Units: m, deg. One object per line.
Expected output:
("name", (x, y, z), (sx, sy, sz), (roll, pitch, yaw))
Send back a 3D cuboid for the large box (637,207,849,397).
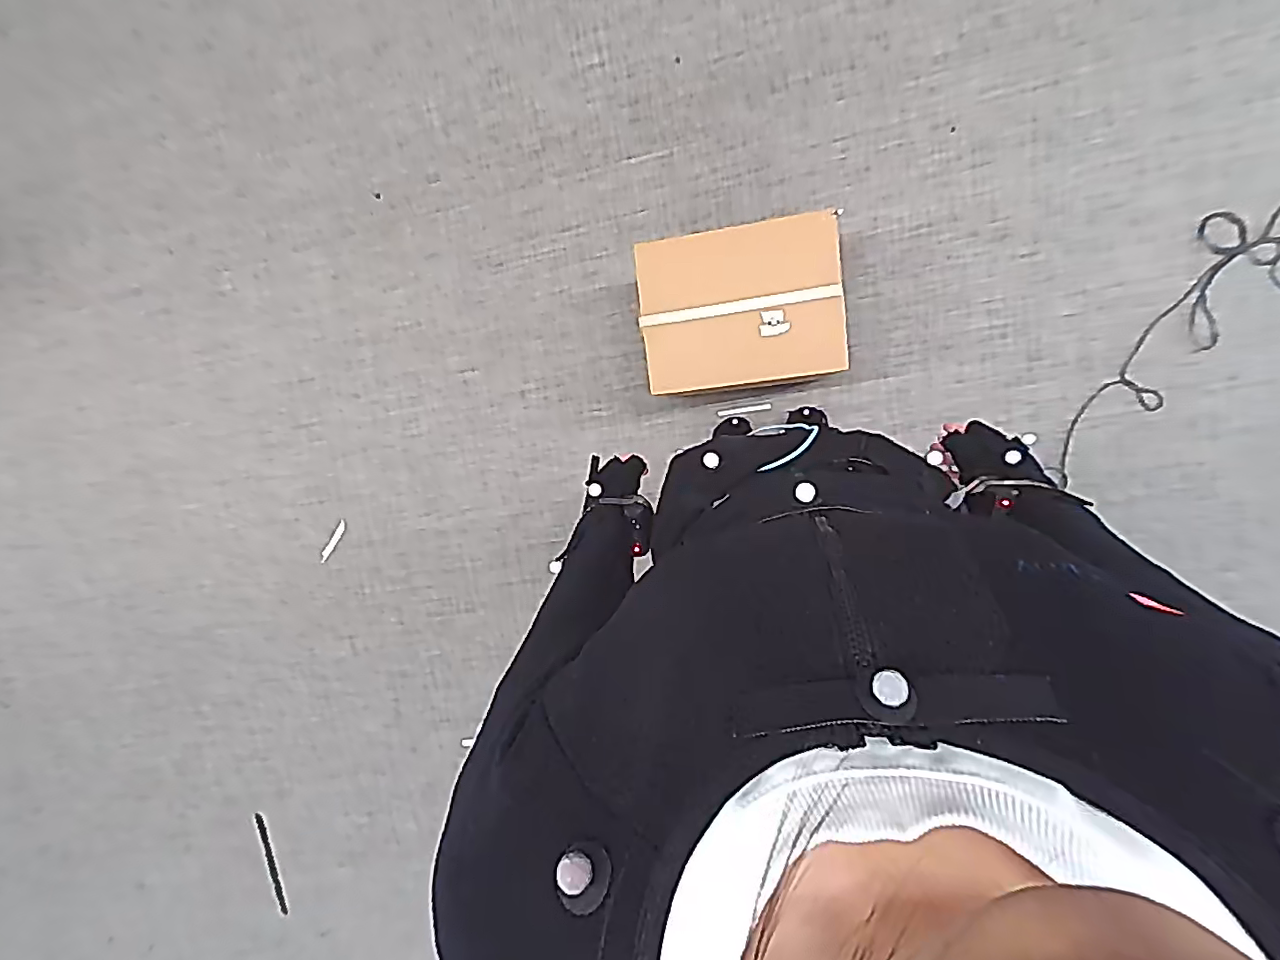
("large box", (0.230, -0.375, 1.247), (0.408, 0.320, 0.320), (-6, 97, 11))
